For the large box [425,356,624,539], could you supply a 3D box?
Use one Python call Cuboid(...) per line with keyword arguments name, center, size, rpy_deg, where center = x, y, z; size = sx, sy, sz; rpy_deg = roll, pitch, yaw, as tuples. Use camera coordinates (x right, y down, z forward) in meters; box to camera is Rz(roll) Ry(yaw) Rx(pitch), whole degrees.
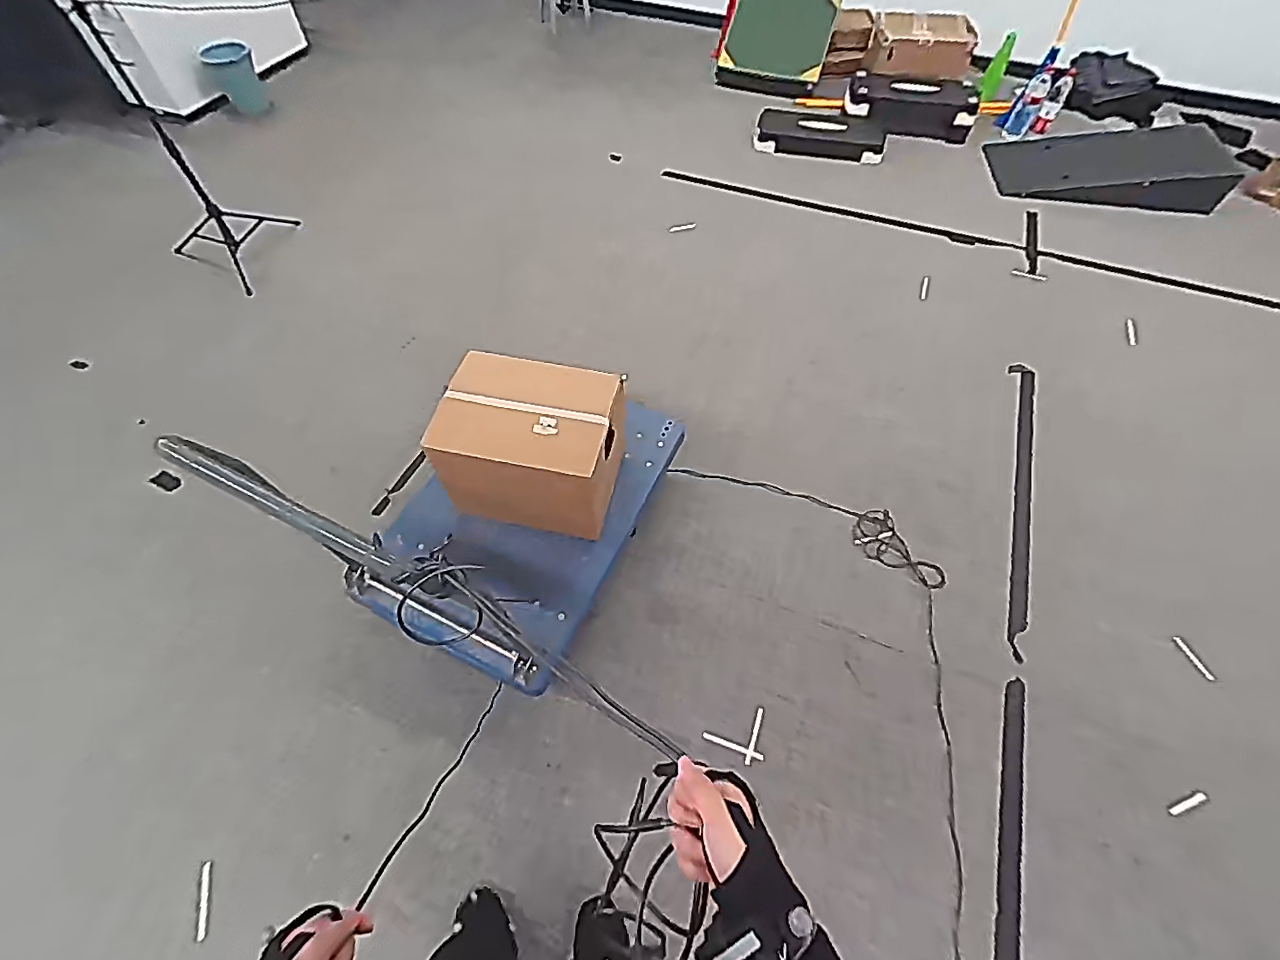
Cuboid(name="large box", center=(-0.269, -0.077, 1.402), size=(0.408, 0.320, 0.320), rpy_deg=(11, 58, 5))
